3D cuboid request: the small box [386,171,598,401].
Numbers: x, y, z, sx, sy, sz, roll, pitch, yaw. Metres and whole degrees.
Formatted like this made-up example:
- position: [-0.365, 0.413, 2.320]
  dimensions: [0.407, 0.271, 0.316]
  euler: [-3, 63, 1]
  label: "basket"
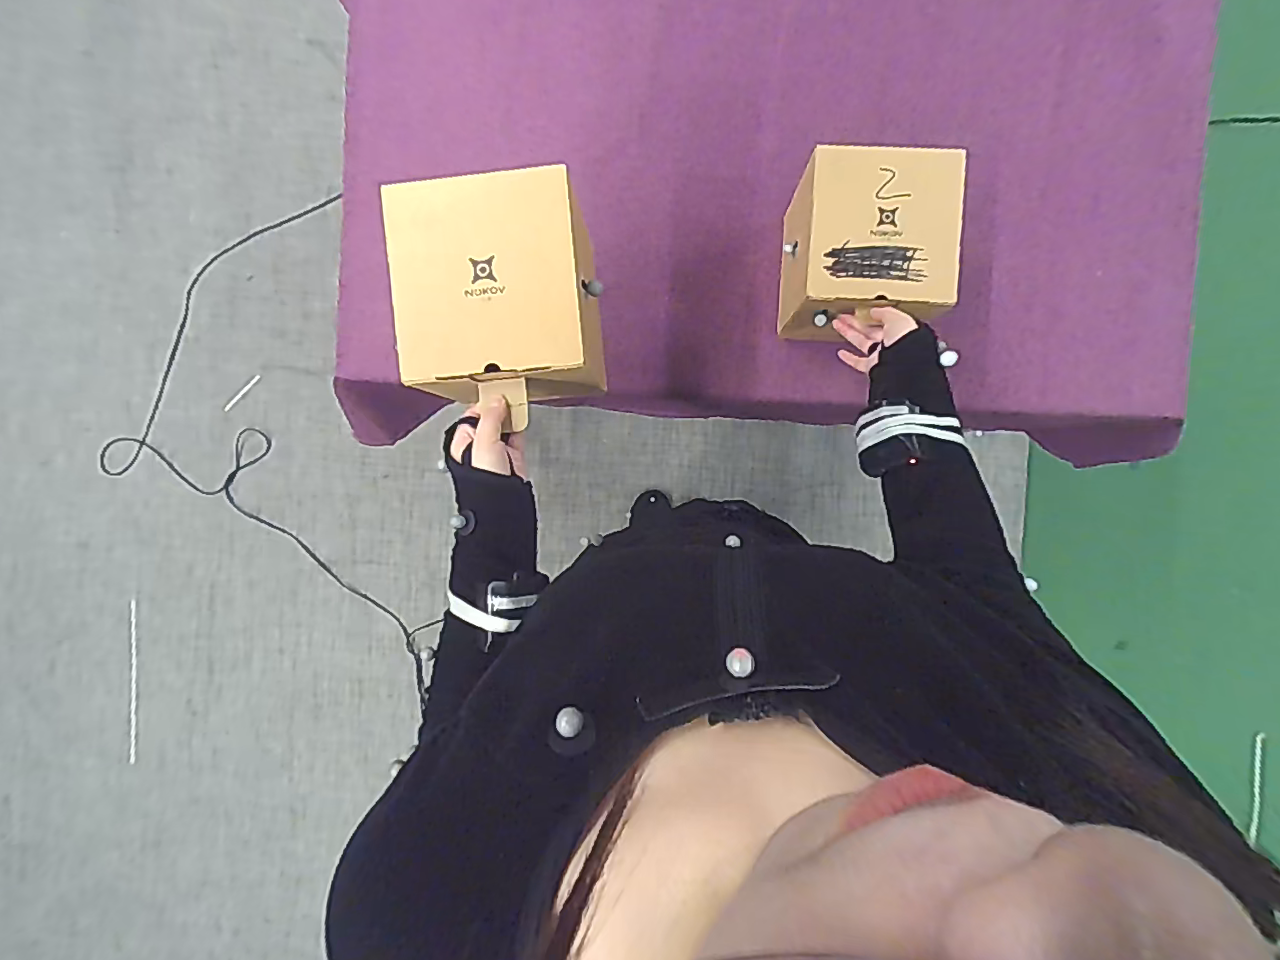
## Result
- position: [-0.139, -0.185, 0.565]
  dimensions: [0.168, 0.176, 0.179]
  euler: [-5, 92, 2]
  label: "small box"
